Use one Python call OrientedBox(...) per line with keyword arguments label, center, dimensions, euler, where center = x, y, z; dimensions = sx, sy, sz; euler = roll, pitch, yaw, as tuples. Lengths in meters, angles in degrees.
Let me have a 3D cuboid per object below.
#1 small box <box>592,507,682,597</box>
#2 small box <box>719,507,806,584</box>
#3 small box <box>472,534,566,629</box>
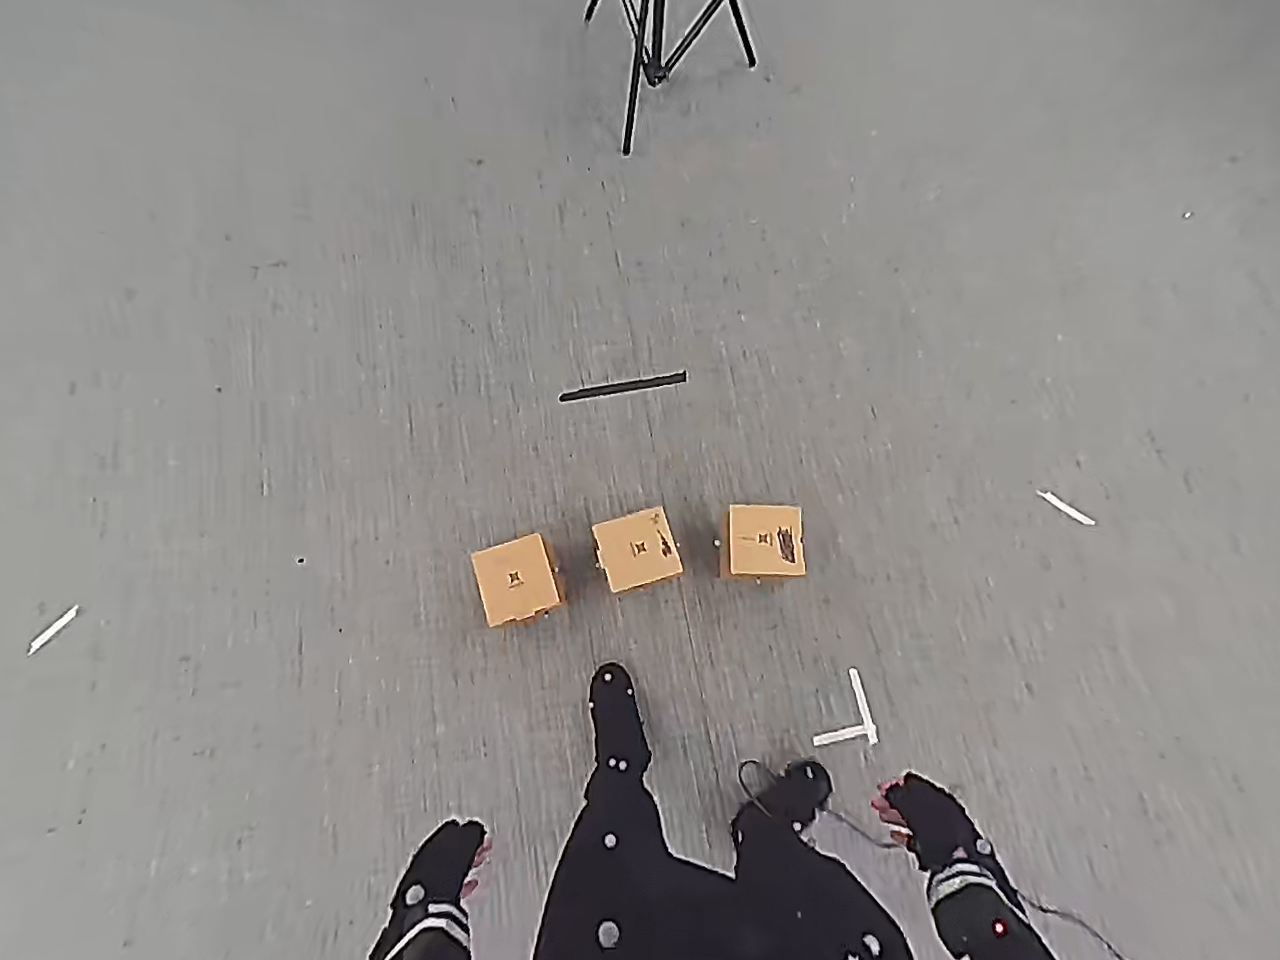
OrientedBox(label="small box", center=(-0.007, 0.182, 1.322), dimensions=(0.179, 0.176, 0.168), euler=(-16, 76, -5))
OrientedBox(label="small box", center=(0.296, 0.166, 1.335), dimensions=(0.179, 0.176, 0.168), euler=(2, 74, 0))
OrientedBox(label="small box", center=(-0.283, 0.247, 1.297), dimensions=(0.168, 0.176, 0.179), euler=(-18, 75, -7))
